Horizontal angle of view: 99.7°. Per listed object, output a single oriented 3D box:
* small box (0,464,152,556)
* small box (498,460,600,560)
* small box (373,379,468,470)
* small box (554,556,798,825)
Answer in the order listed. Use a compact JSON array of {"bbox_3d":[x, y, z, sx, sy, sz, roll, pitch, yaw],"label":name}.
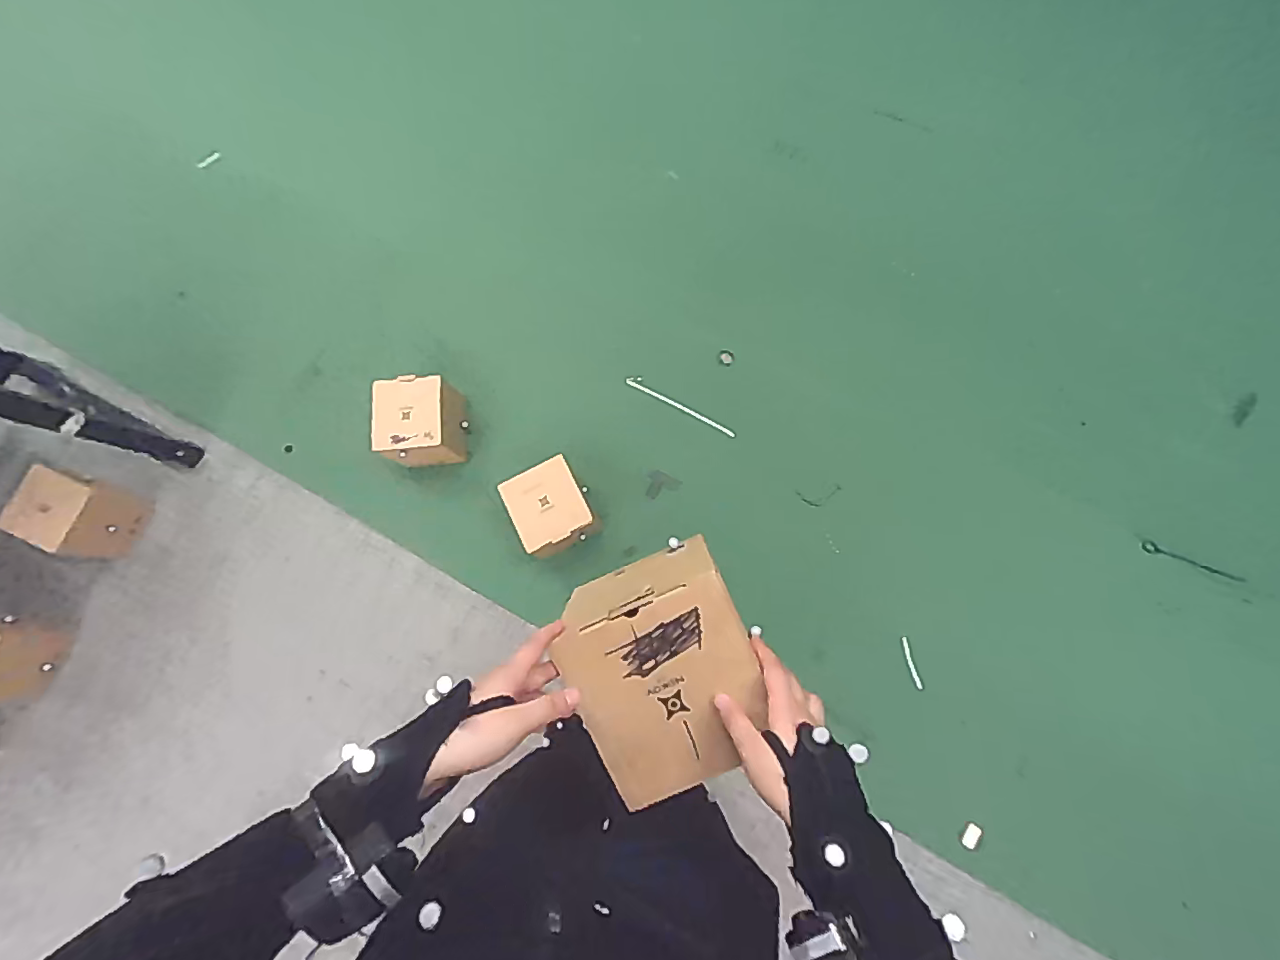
[{"bbox_3d":[-1.381,0.081,1.336,0.179,0.176,0.168,23,80,7],"label":"small box"},{"bbox_3d":[-0.205,0.078,1.278,0.168,0.176,0.179,-27,78,-4],"label":"small box"},{"bbox_3d":[-0.535,-0.133,1.338,0.168,0.176,0.179,-4,78,2],"label":"small box"},{"bbox_3d":[0.032,0.191,0.551,0.168,0.176,0.179,-25,95,3],"label":"small box"}]
